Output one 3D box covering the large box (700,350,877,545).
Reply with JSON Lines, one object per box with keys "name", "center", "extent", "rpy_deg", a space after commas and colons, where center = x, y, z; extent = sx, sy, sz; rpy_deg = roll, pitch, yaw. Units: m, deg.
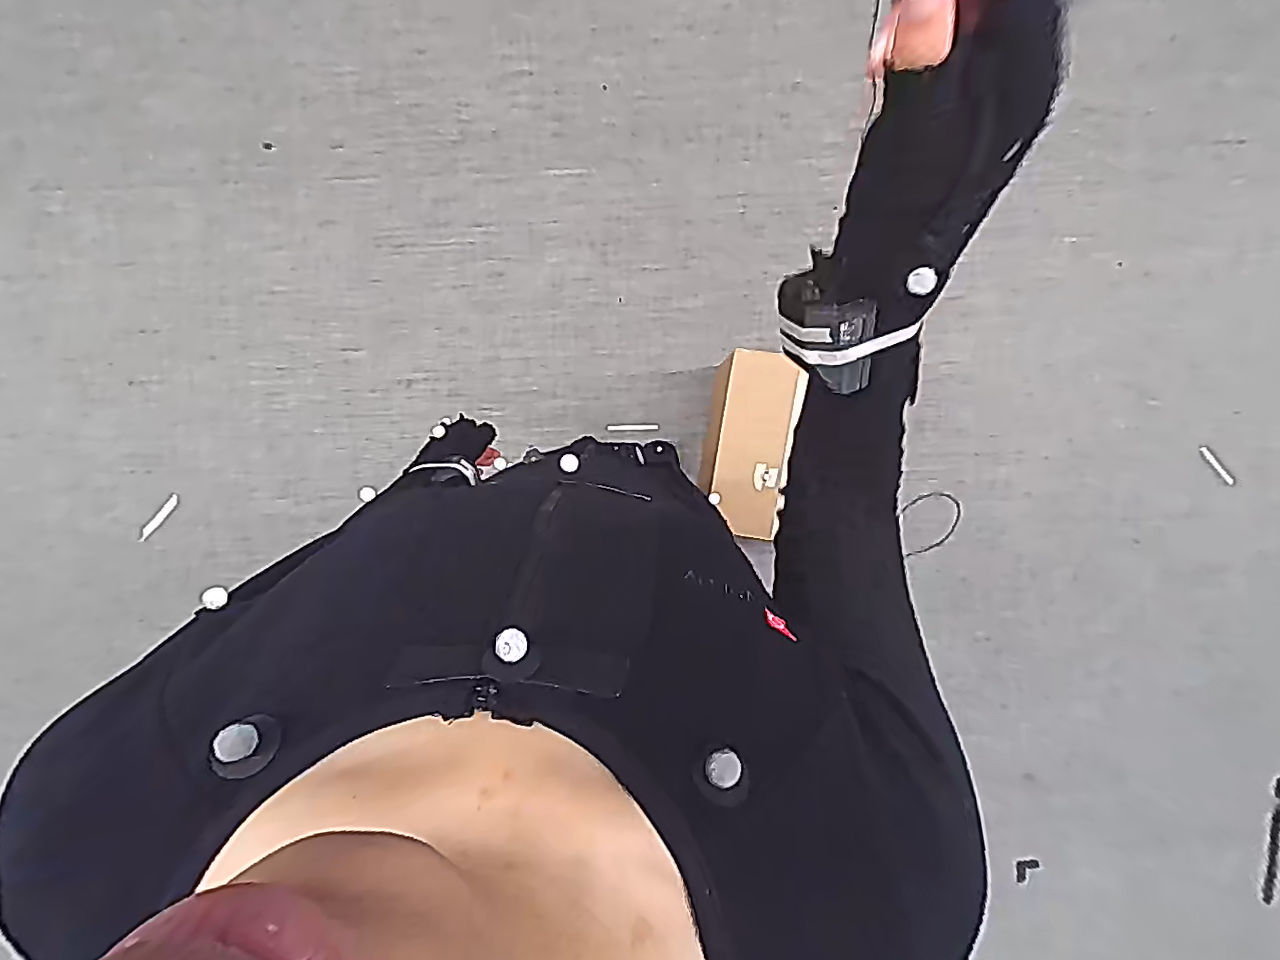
{"name": "large box", "center": [0.341, -0.086, 1.343], "extent": [0.320, 0.320, 0.408], "rpy_deg": [9, 96, 1]}
